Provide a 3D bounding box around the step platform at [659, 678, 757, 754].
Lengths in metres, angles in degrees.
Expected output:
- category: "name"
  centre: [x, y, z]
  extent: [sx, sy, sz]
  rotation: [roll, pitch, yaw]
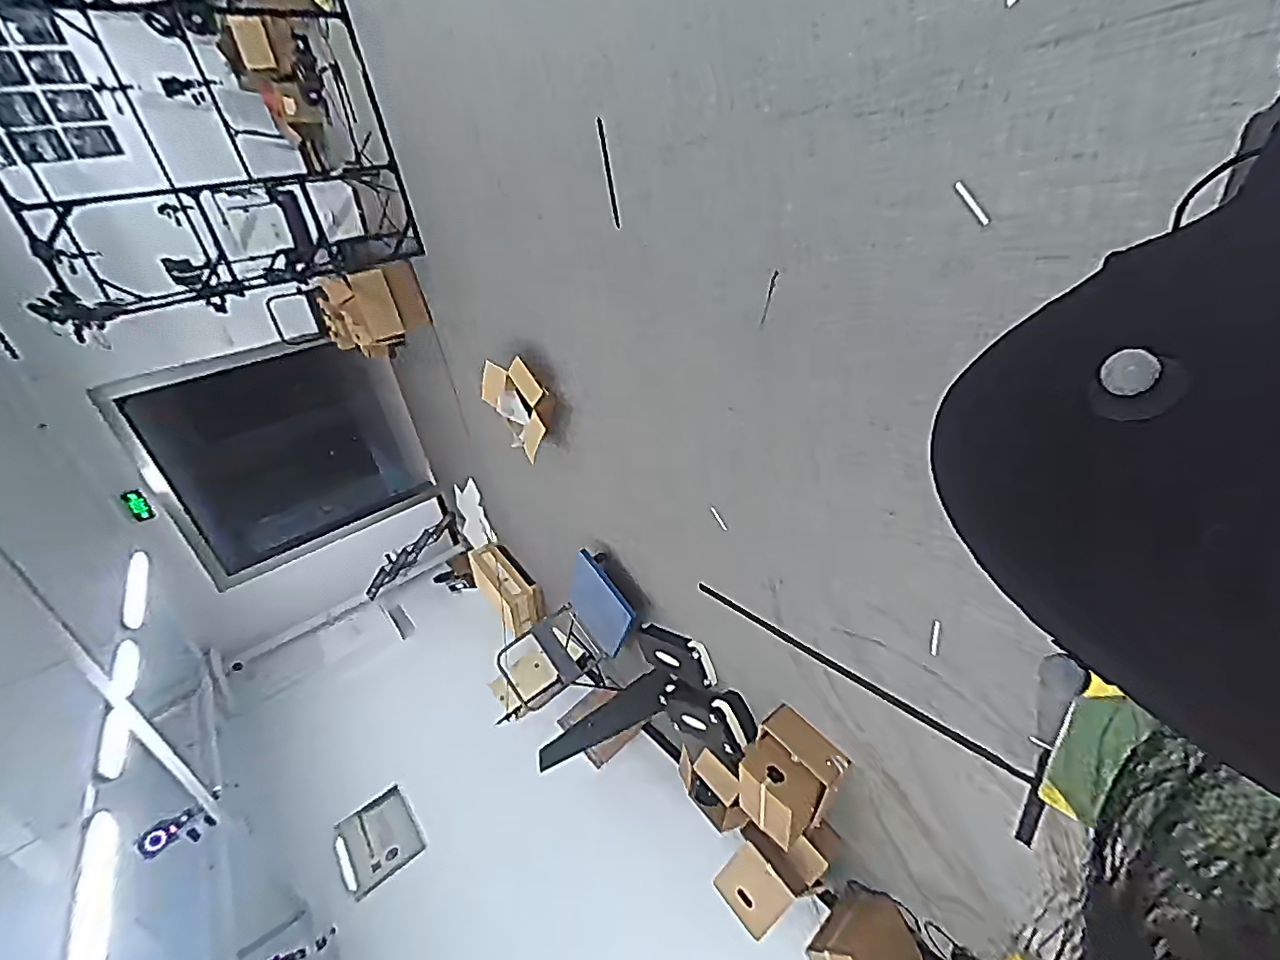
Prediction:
- category: "step platform"
  centre: [0.394, 1.433, 3.314]
  extent: [0.684, 0.204, 0.286]
  rotation: [-21, 96, 59]
